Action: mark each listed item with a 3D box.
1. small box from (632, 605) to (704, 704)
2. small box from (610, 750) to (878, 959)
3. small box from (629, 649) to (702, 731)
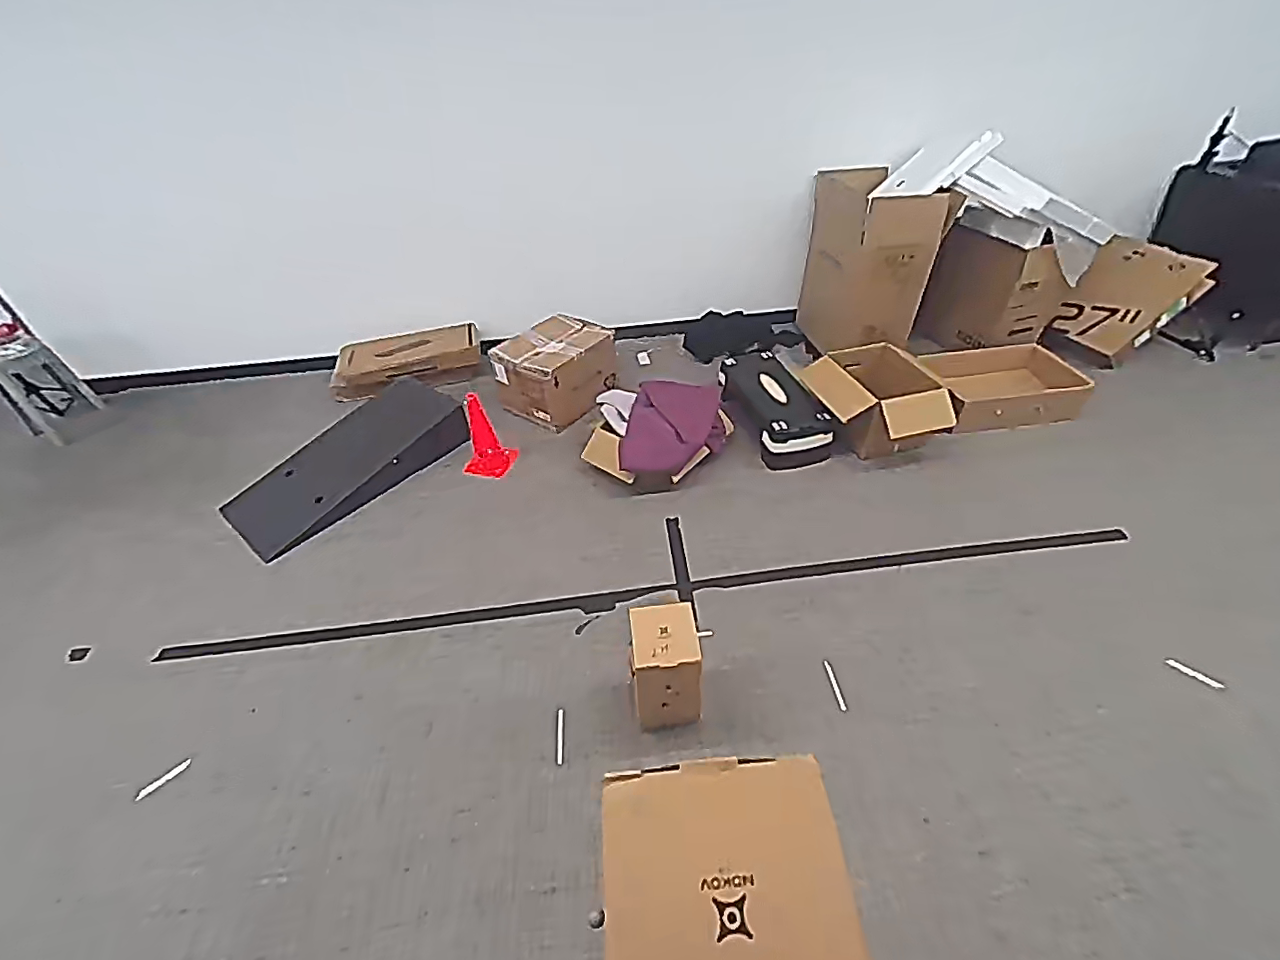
[{"bbox_3d":[0.067,0.452,1.402,0.168,0.176,0.179,-6,41,-2],"label":"small box"},{"bbox_3d":[0.063,0.324,0.408,0.168,0.176,0.179,-4,50,-2],"label":"small box"},{"bbox_3d":[0.071,0.577,1.509,0.179,0.176,0.168,-8,41,-5],"label":"small box"}]
